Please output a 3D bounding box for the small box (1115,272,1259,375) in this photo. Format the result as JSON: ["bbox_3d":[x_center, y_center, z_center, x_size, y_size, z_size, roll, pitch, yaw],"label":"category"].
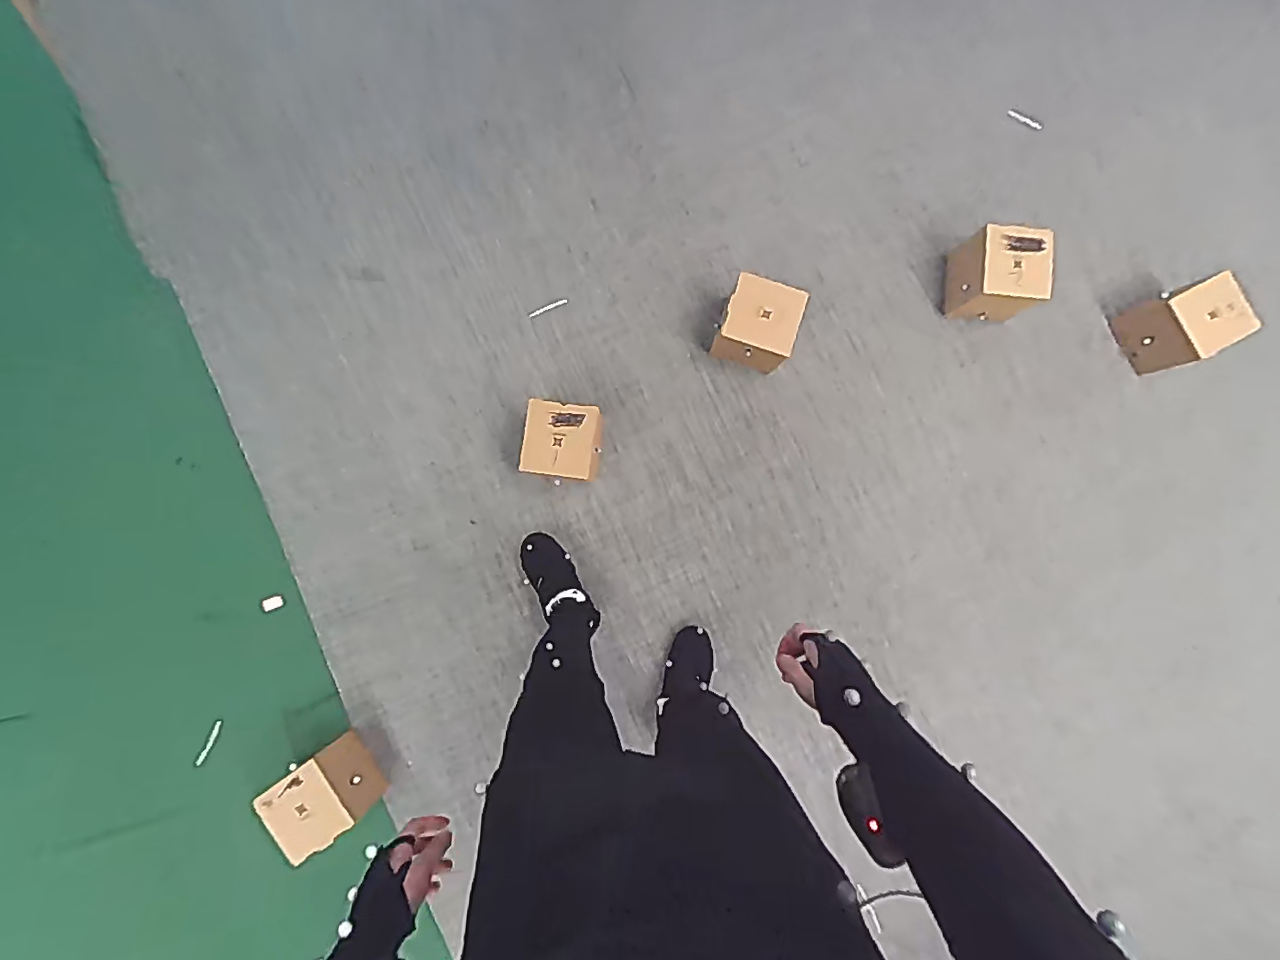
[{"bbox_3d":[1.379,-0.391,1.383,0.179,0.176,0.168,-28,88,-3],"label":"small box"}]

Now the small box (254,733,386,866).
[{"bbox_3d":[-0.741,0.739,1.274,0.168,0.176,0.179,-35,88,-3],"label":"small box"}]

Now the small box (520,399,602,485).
[{"bbox_3d":[-0.187,-0.088,1.337,0.168,0.176,0.179,8,87,0],"label":"small box"}]
